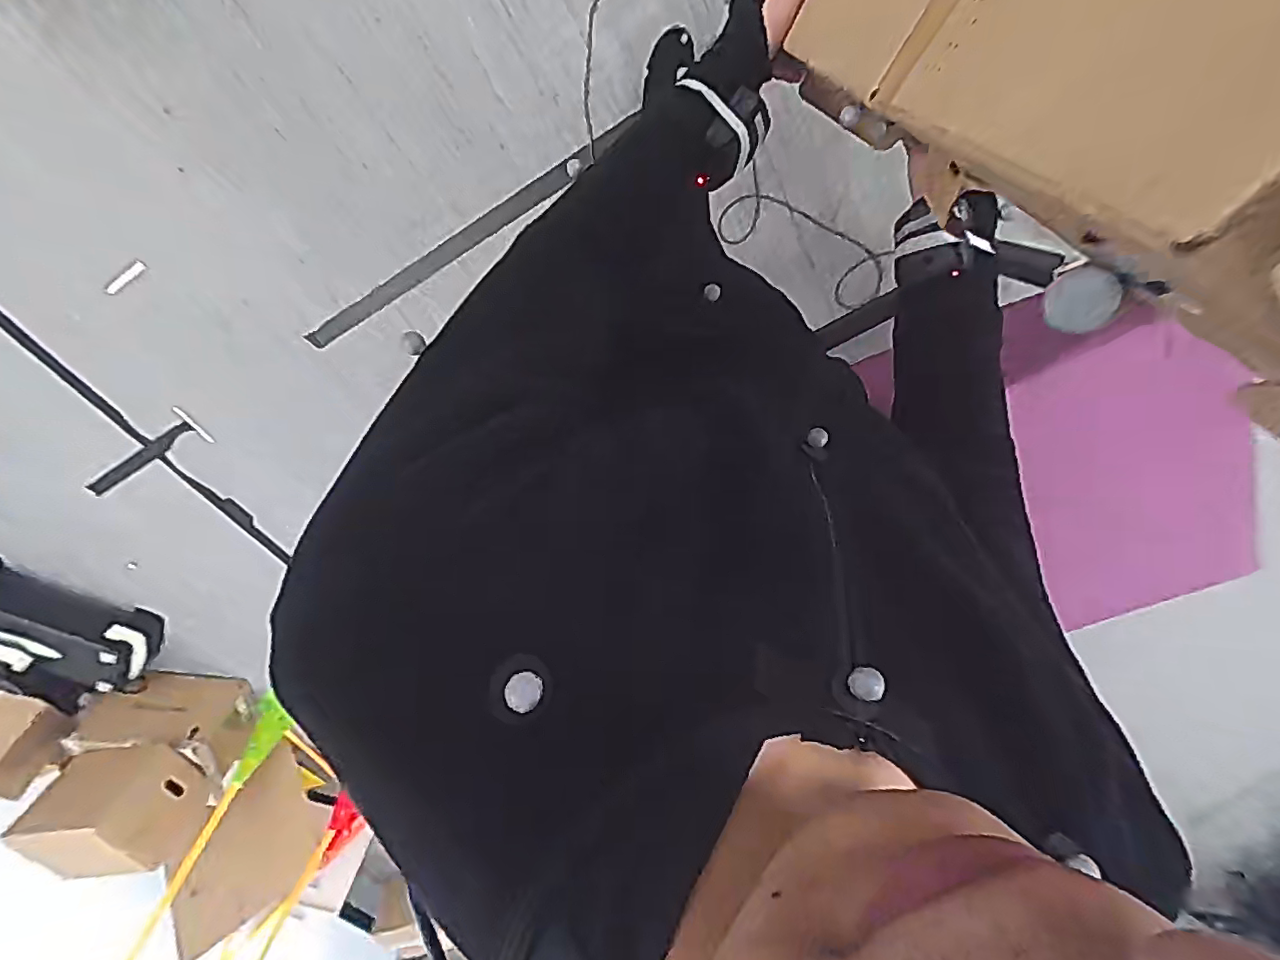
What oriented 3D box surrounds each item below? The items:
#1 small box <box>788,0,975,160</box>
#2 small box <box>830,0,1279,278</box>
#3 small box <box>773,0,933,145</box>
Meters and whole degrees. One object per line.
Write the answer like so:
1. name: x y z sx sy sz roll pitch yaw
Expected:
1. small box: 0.214 -0.325 0.340 0.179 0.176 0.168 22 130 -13
2. small box: 0.197 -0.220 0.214 0.168 0.176 0.179 21 129 -12
3. small box: 0.230 -0.430 0.465 0.168 0.176 0.179 25 127 -13
